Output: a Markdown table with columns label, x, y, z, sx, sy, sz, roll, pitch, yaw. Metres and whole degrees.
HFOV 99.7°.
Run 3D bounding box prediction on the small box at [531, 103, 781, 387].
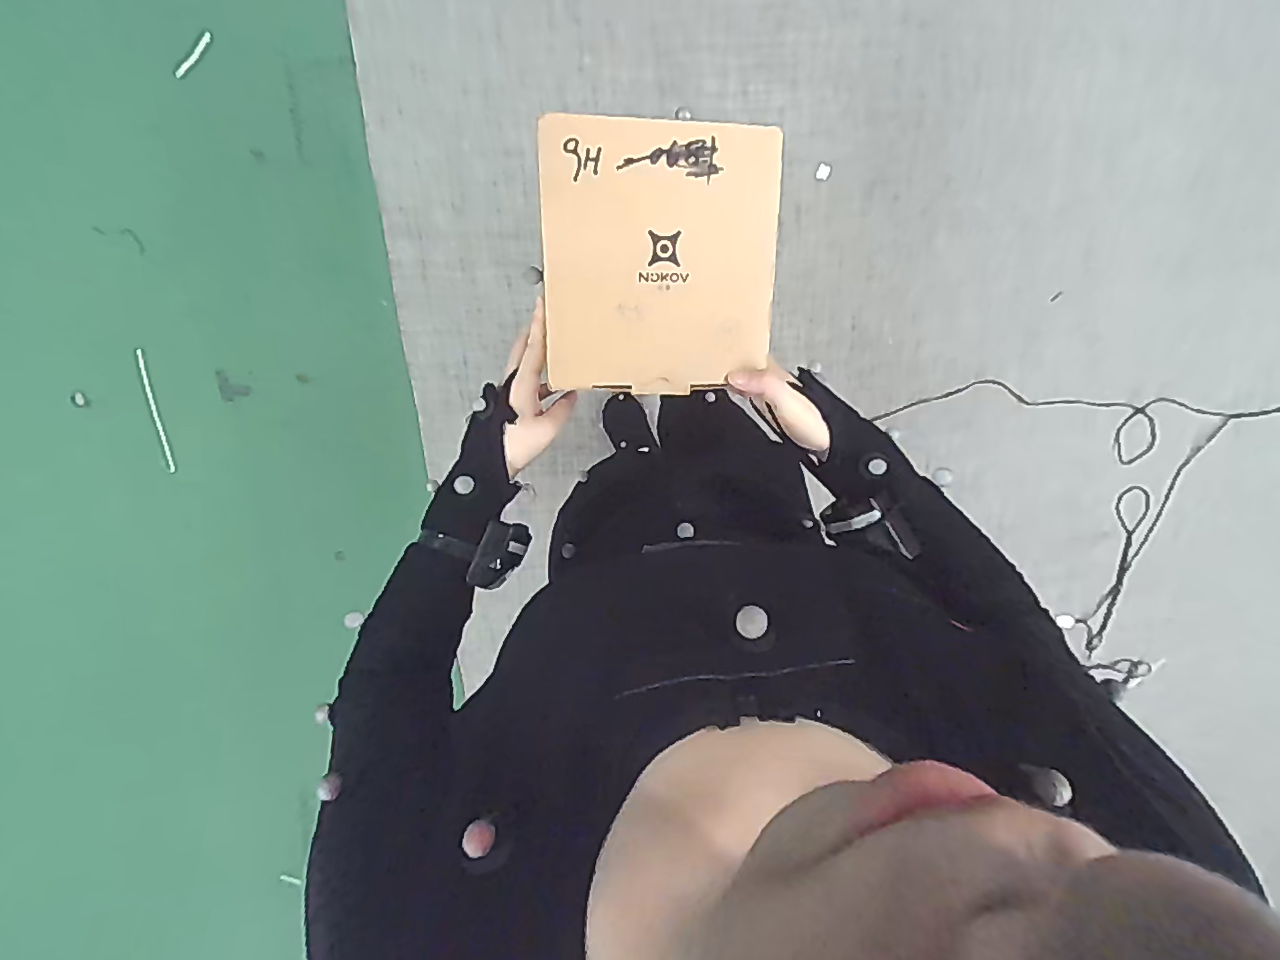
| label | x | y | z | sx | sy | sz | roll | pitch | yaw |
| --- | --- | --- | --- | --- | --- | --- | --- | --- | --- |
| small box | 0.000 | -0.175 | 0.445 | 0.168 | 0.176 | 0.179 | -2 | 107 | -9 |
